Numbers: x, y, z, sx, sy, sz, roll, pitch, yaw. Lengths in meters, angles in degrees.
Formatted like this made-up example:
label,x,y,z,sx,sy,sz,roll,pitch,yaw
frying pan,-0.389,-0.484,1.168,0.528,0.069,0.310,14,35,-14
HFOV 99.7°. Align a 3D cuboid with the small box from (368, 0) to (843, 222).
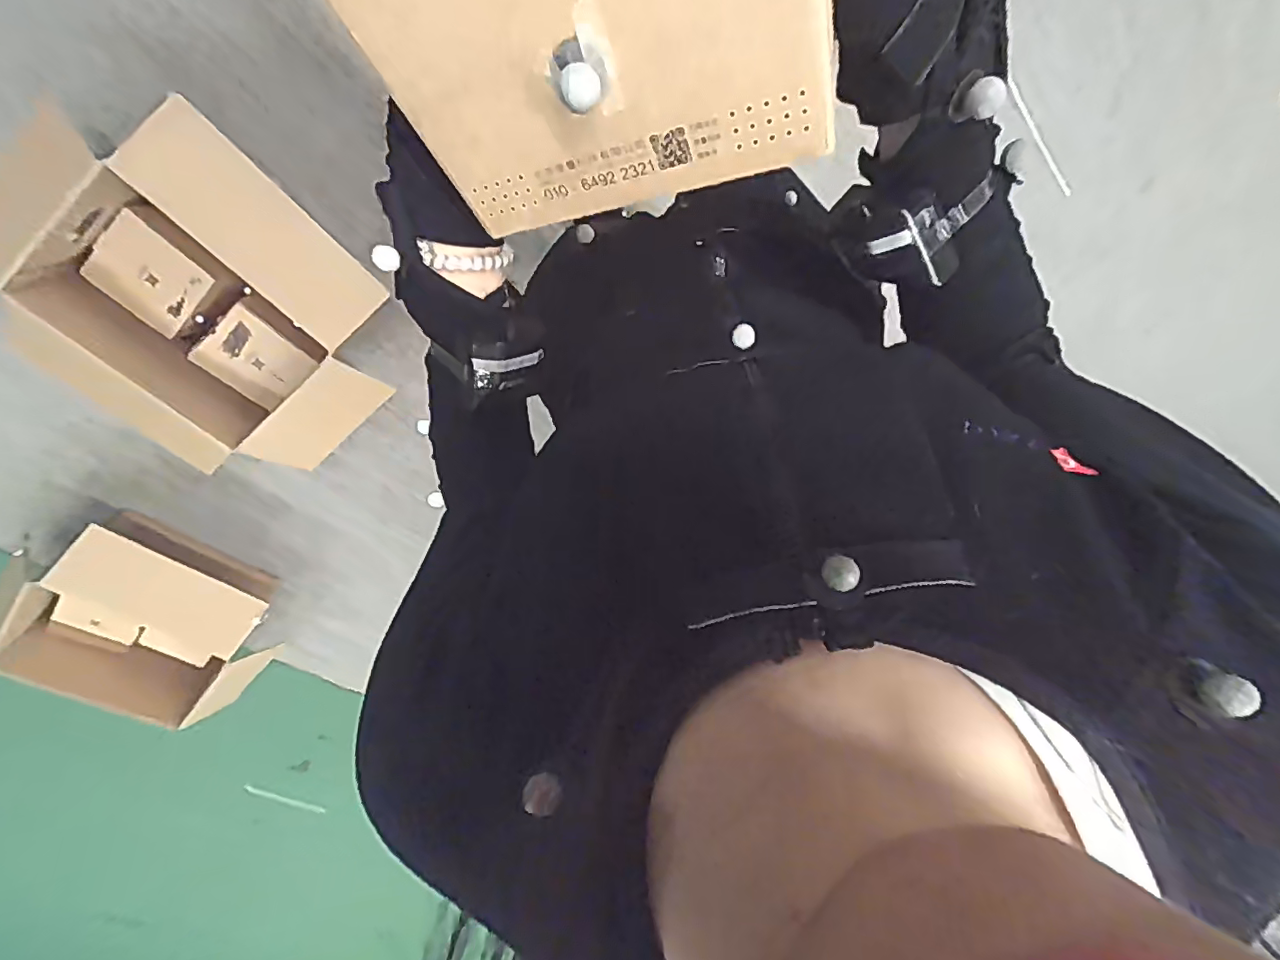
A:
label,x,y,z,sx,sy,sz,roll,pitch,yaw
small box,-0.014,-0.240,0.211,0.168,0.179,0.176,-2,152,23
